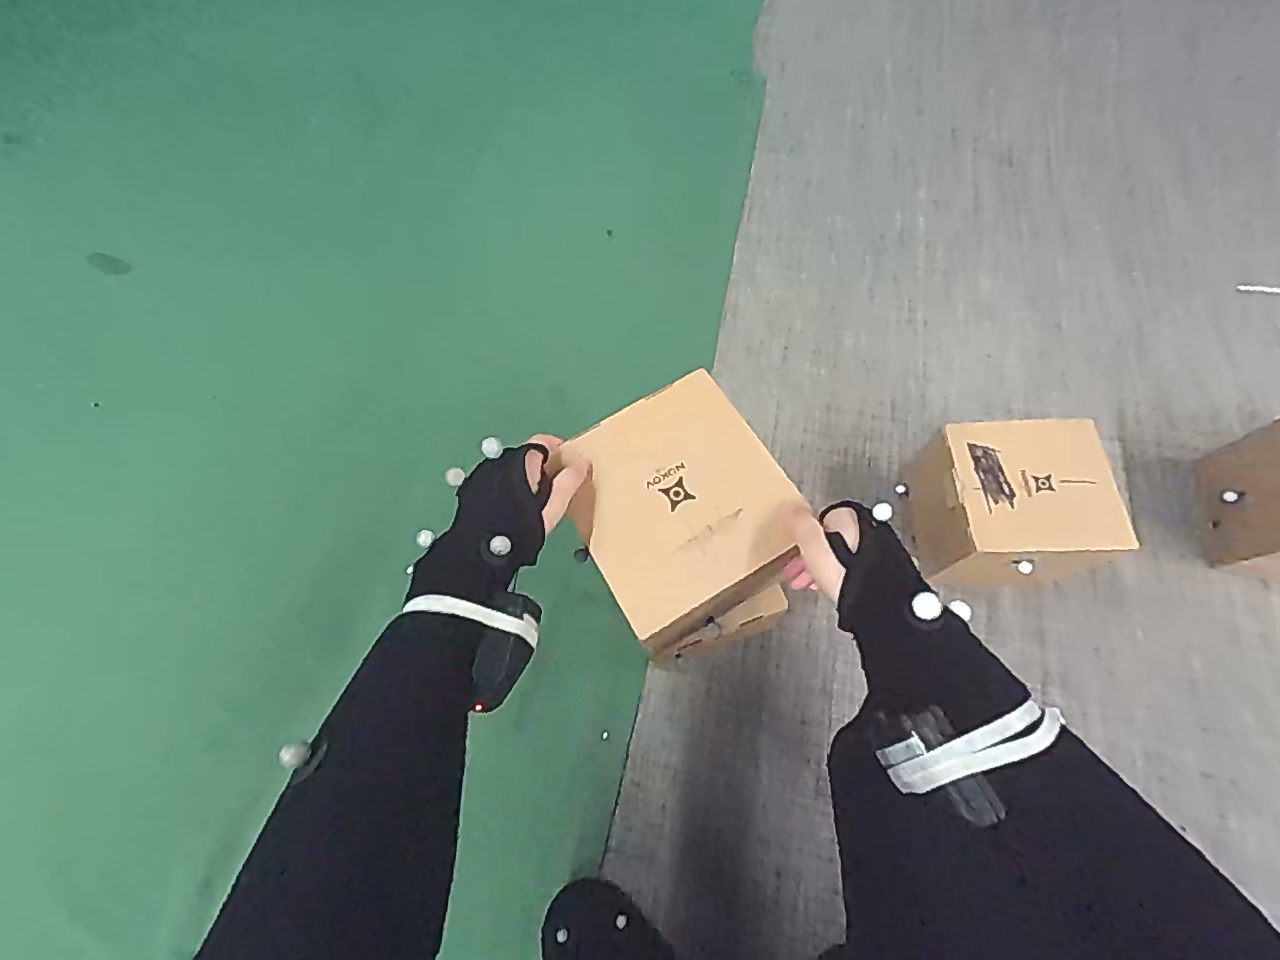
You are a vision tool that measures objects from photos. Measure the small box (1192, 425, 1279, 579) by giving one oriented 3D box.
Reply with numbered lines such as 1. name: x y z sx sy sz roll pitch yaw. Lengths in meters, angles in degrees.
1. small box: 0.860 0.028 0.669 0.179 0.176 0.168 9 67 10

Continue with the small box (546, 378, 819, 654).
1. small box: 0.034 0.044 0.512 0.168 0.176 0.179 -29 68 -8

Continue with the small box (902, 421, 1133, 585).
1. small box: 0.463 0.038 0.704 0.179 0.176 0.168 -2 66 4
